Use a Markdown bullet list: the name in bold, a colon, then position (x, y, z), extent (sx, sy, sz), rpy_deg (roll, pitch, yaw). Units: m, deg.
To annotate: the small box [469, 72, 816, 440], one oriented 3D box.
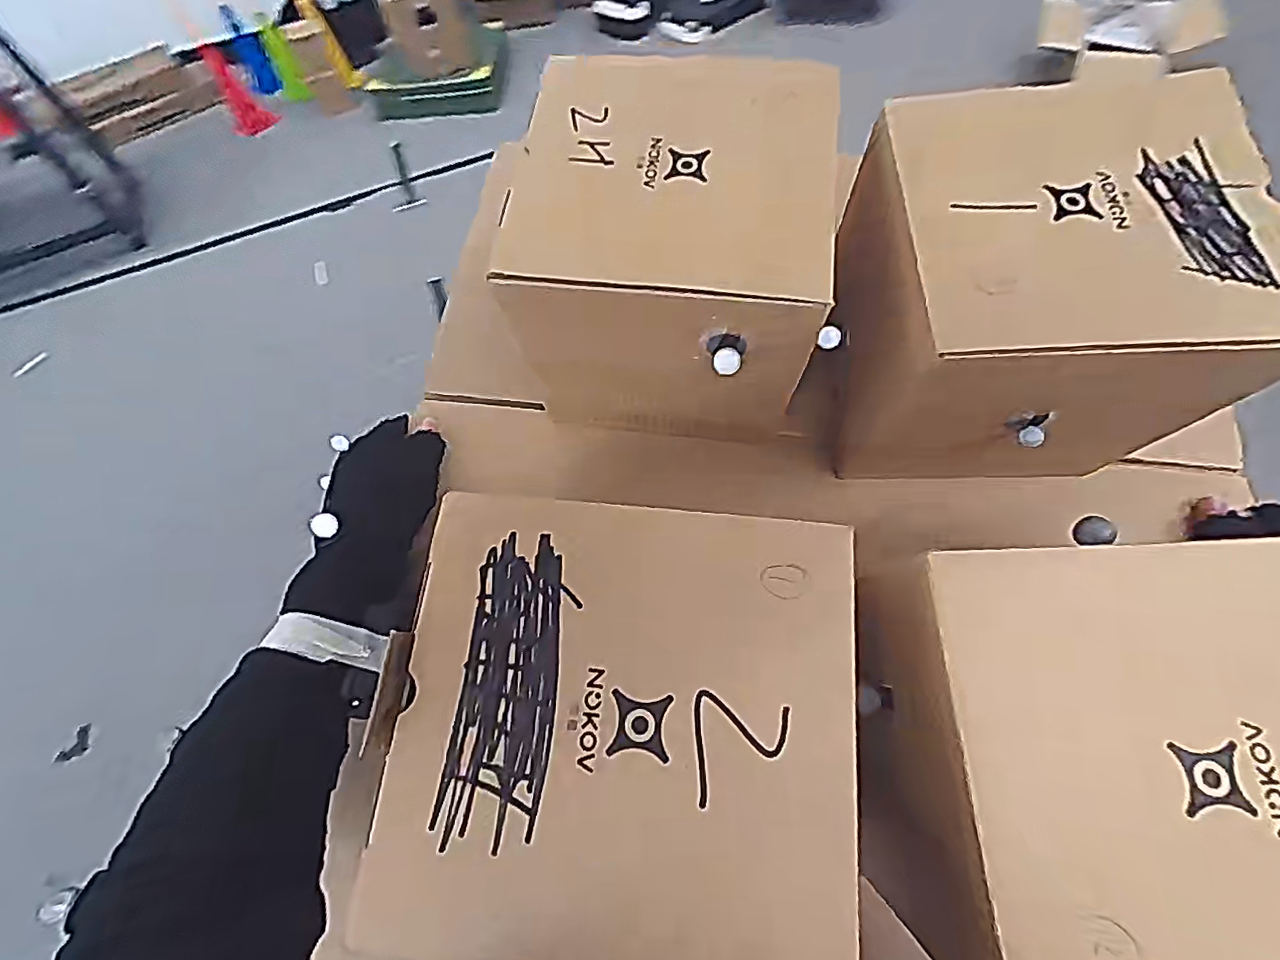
- **small box**: position (0.011, -0.138, 0.376), extent (0.179, 0.176, 0.168), rpy_deg (6, 70, 6)
